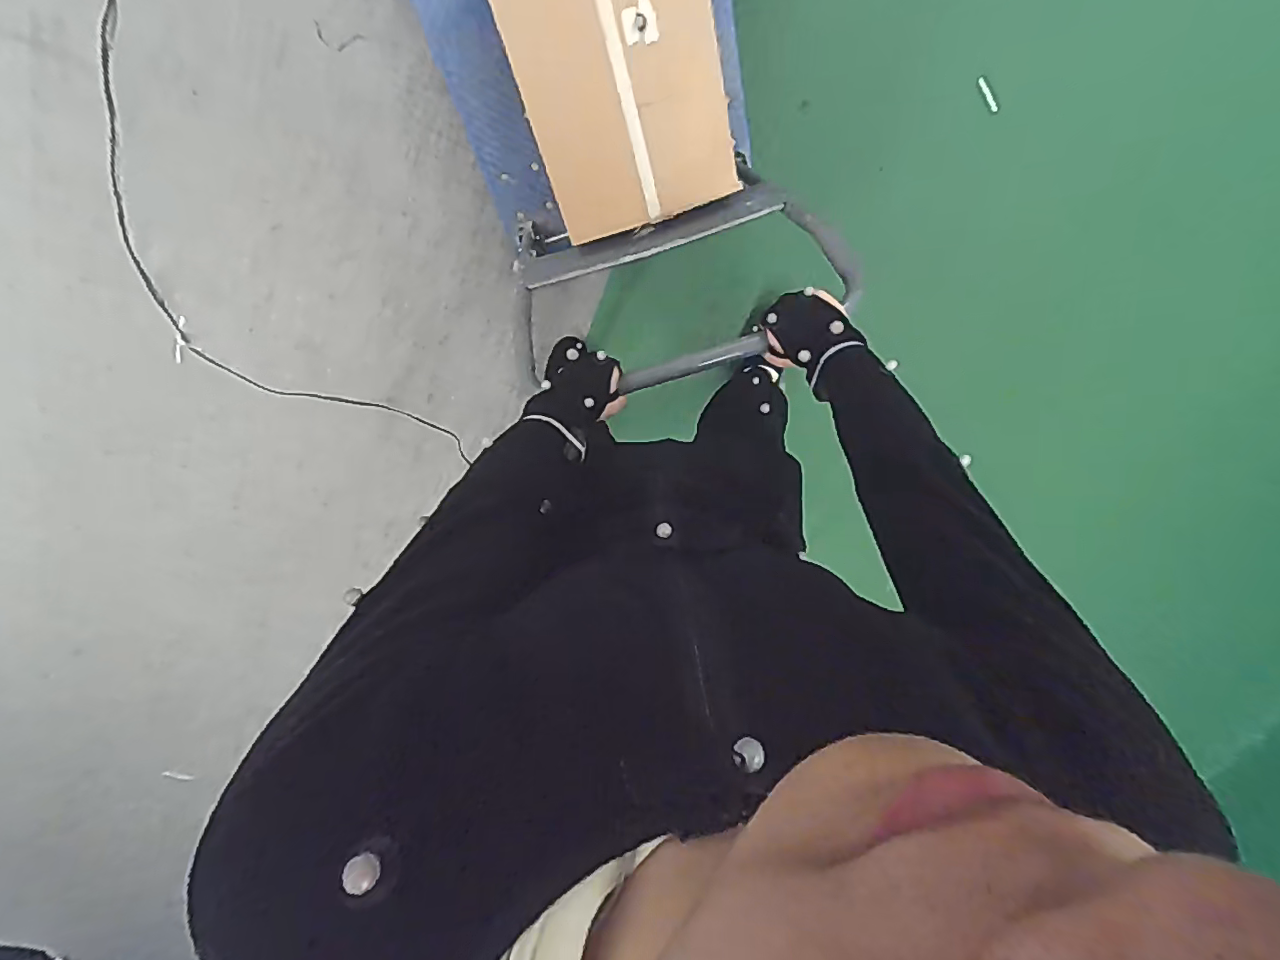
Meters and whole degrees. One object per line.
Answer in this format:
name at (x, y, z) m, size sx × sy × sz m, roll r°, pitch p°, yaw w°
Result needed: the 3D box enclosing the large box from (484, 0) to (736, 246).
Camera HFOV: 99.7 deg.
large box at (-0.045, -0.701, 0.973) m, size 0.320 × 0.320 × 0.408 m, roll -17°, pitch 126°, yaw 4°
